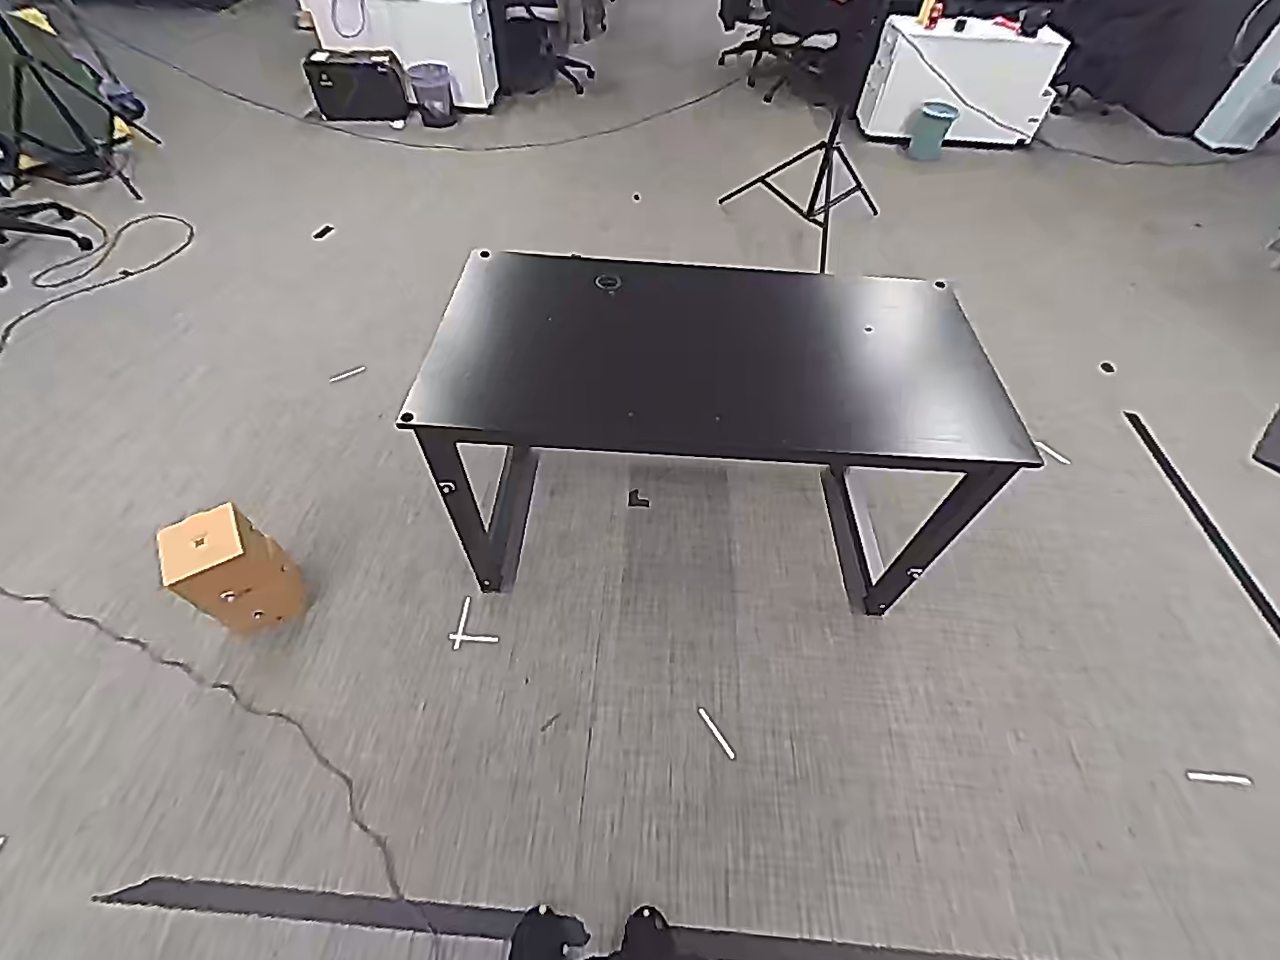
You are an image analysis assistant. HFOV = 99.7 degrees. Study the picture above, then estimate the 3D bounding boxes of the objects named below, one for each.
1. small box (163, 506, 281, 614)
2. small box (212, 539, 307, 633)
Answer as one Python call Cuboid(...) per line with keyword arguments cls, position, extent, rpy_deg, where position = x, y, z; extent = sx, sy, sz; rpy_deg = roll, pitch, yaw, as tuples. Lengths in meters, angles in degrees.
Cuboid(cls="small box", position=(-1.044, 0.203, 1.359), extent=(0.168, 0.176, 0.179), rpy_deg=(-27, 60, -20))
Cuboid(cls="small box", position=(-1.048, 0.300, 1.490), extent=(0.168, 0.176, 0.179), rpy_deg=(-22, 56, -20))
